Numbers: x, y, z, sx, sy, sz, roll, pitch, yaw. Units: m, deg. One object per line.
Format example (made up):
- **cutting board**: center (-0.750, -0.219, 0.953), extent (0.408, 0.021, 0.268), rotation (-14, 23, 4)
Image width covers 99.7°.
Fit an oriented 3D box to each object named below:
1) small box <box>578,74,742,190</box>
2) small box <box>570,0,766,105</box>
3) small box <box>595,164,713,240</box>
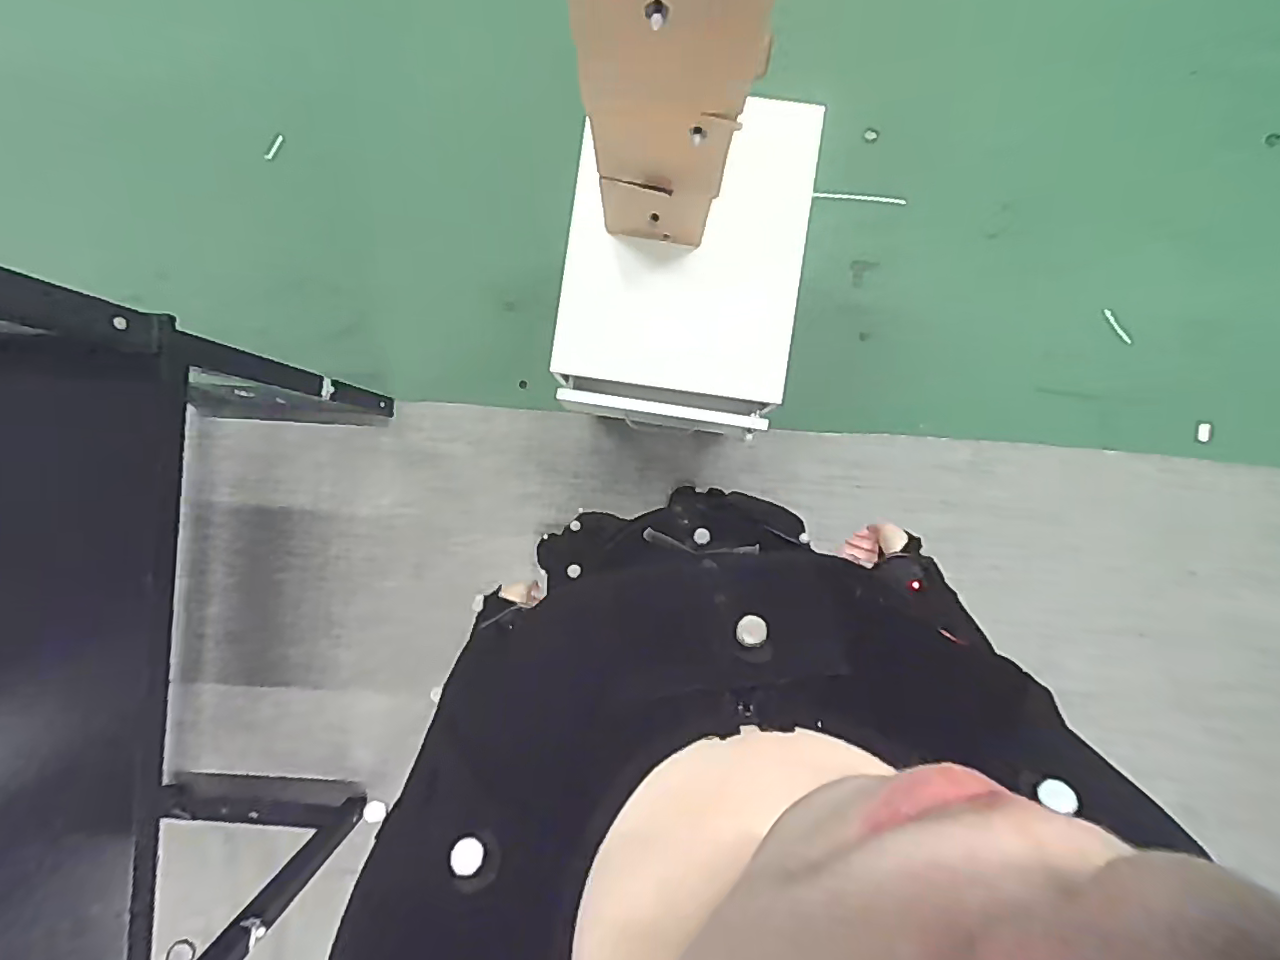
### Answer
- **small box**: center (0.035, -0.483, 0.653), extent (0.179, 0.176, 0.168), rotation (11, 90, 0)
- **small box**: center (0.027, -0.477, 0.488), extent (0.179, 0.176, 0.168), rotation (4, 91, 0)
- **small box**: center (0.033, -0.487, 0.815), extent (0.168, 0.176, 0.179), rotation (9, 91, 0)
